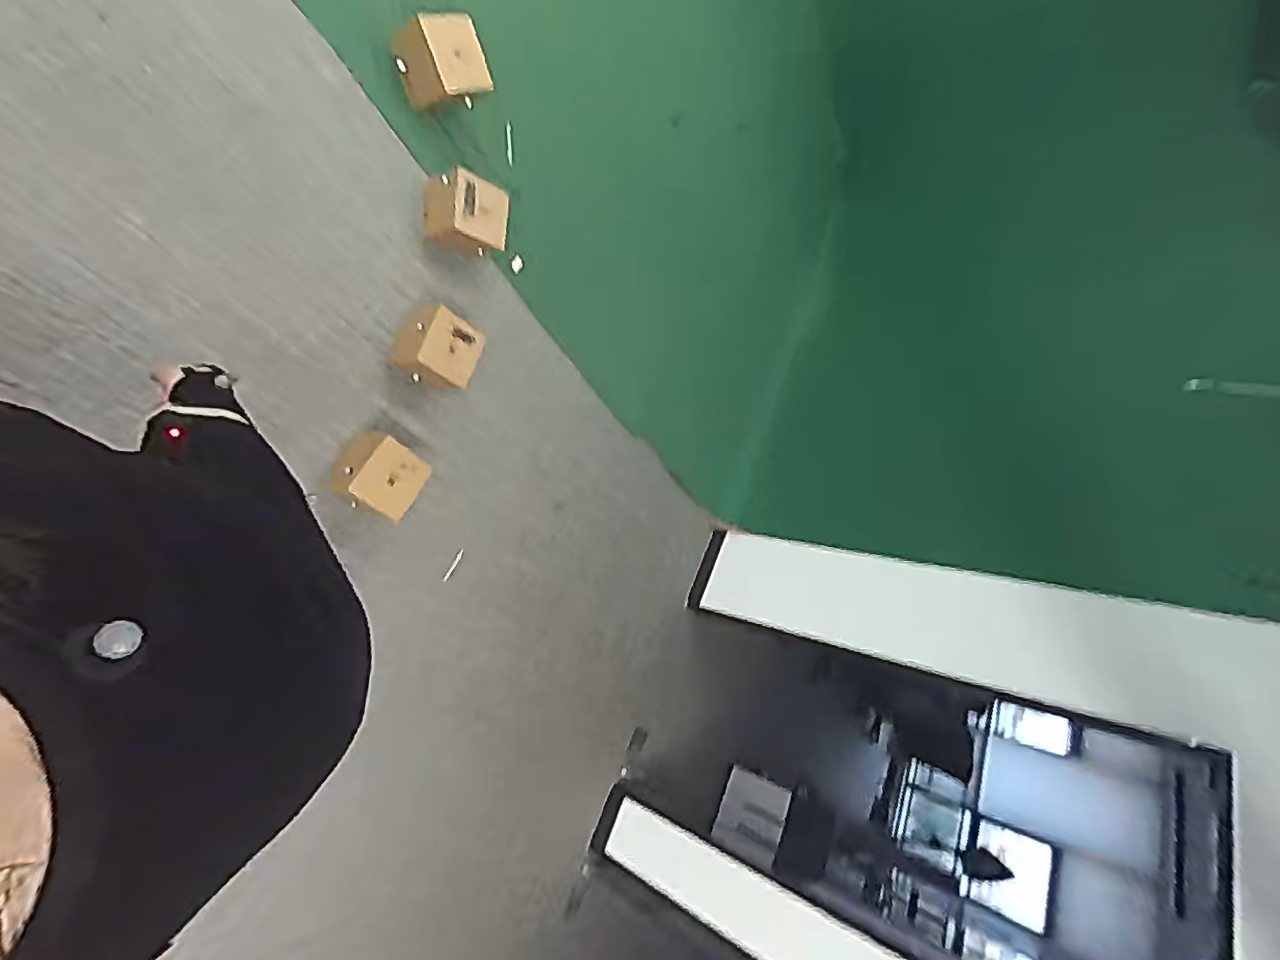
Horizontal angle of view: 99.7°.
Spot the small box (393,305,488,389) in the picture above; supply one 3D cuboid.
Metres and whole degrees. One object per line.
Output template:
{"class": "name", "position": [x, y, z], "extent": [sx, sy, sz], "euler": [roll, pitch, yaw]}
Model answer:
{"class": "small box", "position": [-0.580, -0.378, 1.563], "extent": [0.168, 0.176, 0.179], "euler": [34, 70, -49]}

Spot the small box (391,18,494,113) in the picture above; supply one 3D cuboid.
{"class": "small box", "position": [-0.545, -1.141, 1.494], "extent": [0.179, 0.176, 0.168], "euler": [-43, 127, -40]}

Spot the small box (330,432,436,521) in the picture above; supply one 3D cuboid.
{"class": "small box", "position": [-0.702, -0.012, 1.464], "extent": [0.168, 0.176, 0.179], "euler": [51, 57, -44]}
